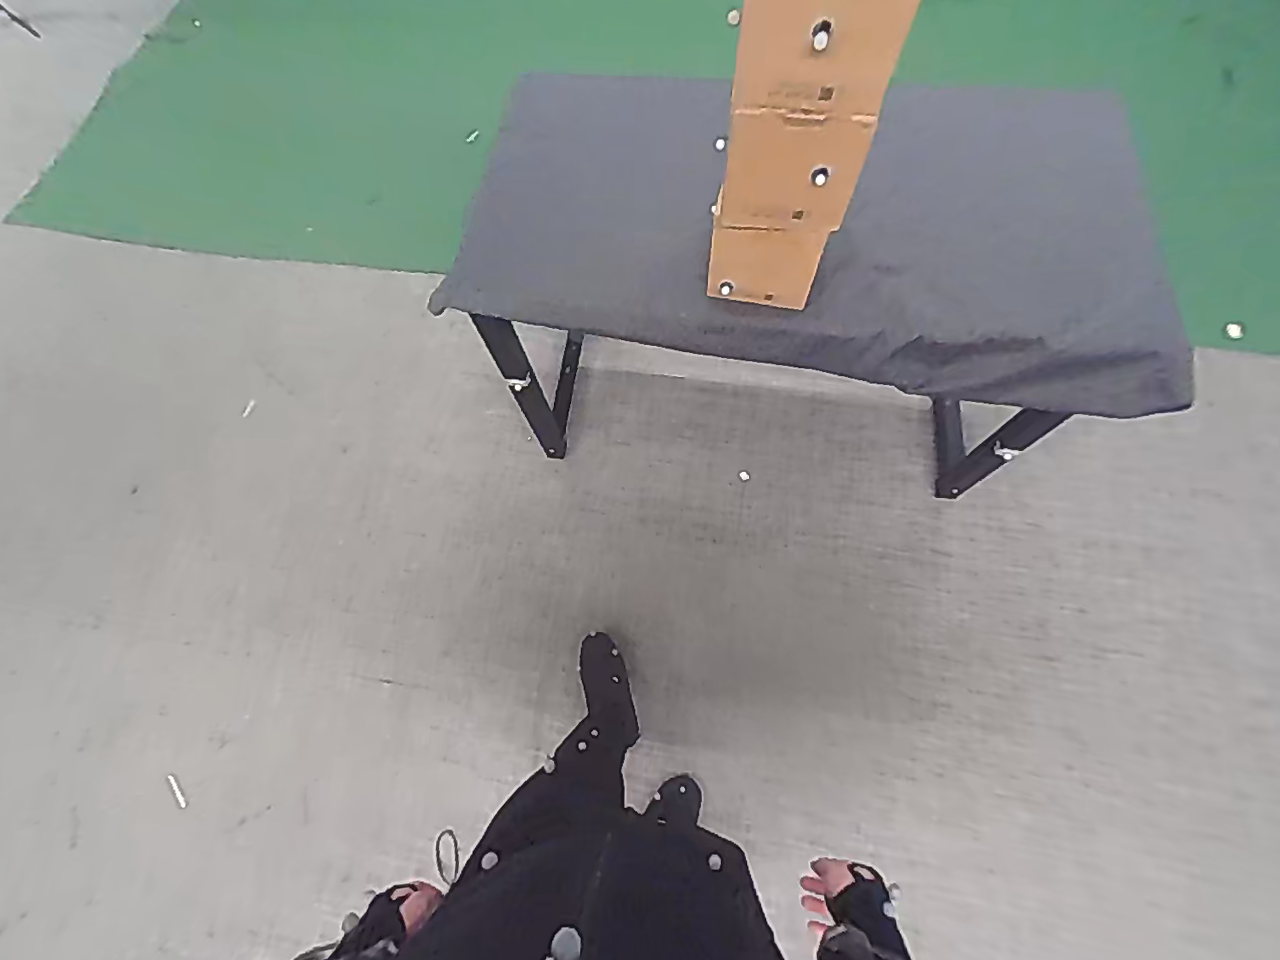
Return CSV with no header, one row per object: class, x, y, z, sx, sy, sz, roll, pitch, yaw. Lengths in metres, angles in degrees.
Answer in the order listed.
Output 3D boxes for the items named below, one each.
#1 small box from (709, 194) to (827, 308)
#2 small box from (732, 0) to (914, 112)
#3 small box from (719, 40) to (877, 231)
small box,0.207,-0.403,0.864,0.168,0.176,0.179,11,68,8
small box,0.191,-0.520,0.561,0.168,0.176,0.179,8,70,5
small box,0.197,-0.456,0.712,0.168,0.176,0.179,5,68,4
